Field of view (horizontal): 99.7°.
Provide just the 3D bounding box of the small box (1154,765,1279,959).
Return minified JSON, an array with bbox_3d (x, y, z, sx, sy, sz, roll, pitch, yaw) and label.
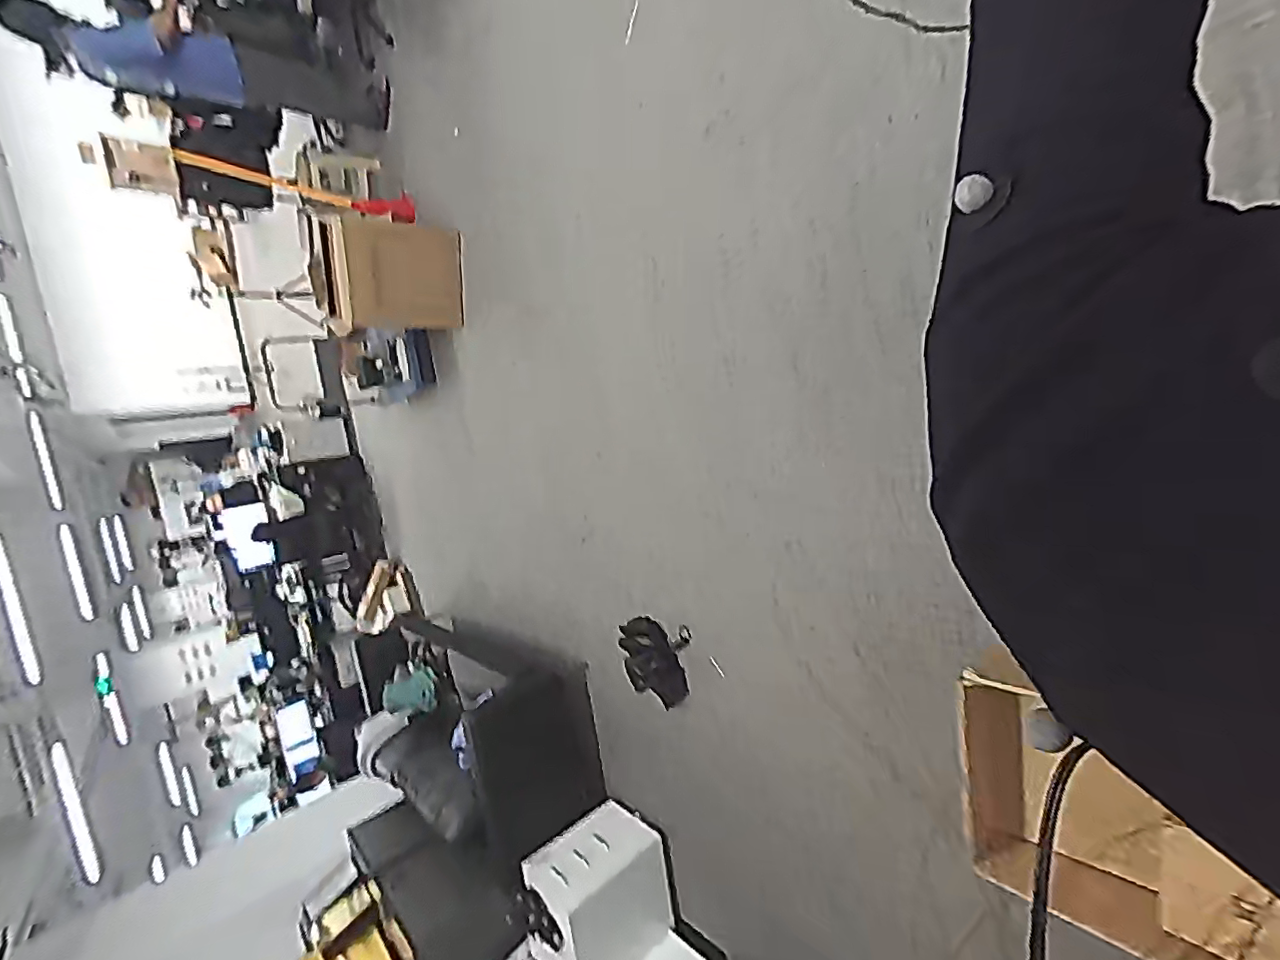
[{"bbox_3d":[0.843,0.543,0.755,0.168,0.176,0.179,2,104,51],"label":"small box"}]
